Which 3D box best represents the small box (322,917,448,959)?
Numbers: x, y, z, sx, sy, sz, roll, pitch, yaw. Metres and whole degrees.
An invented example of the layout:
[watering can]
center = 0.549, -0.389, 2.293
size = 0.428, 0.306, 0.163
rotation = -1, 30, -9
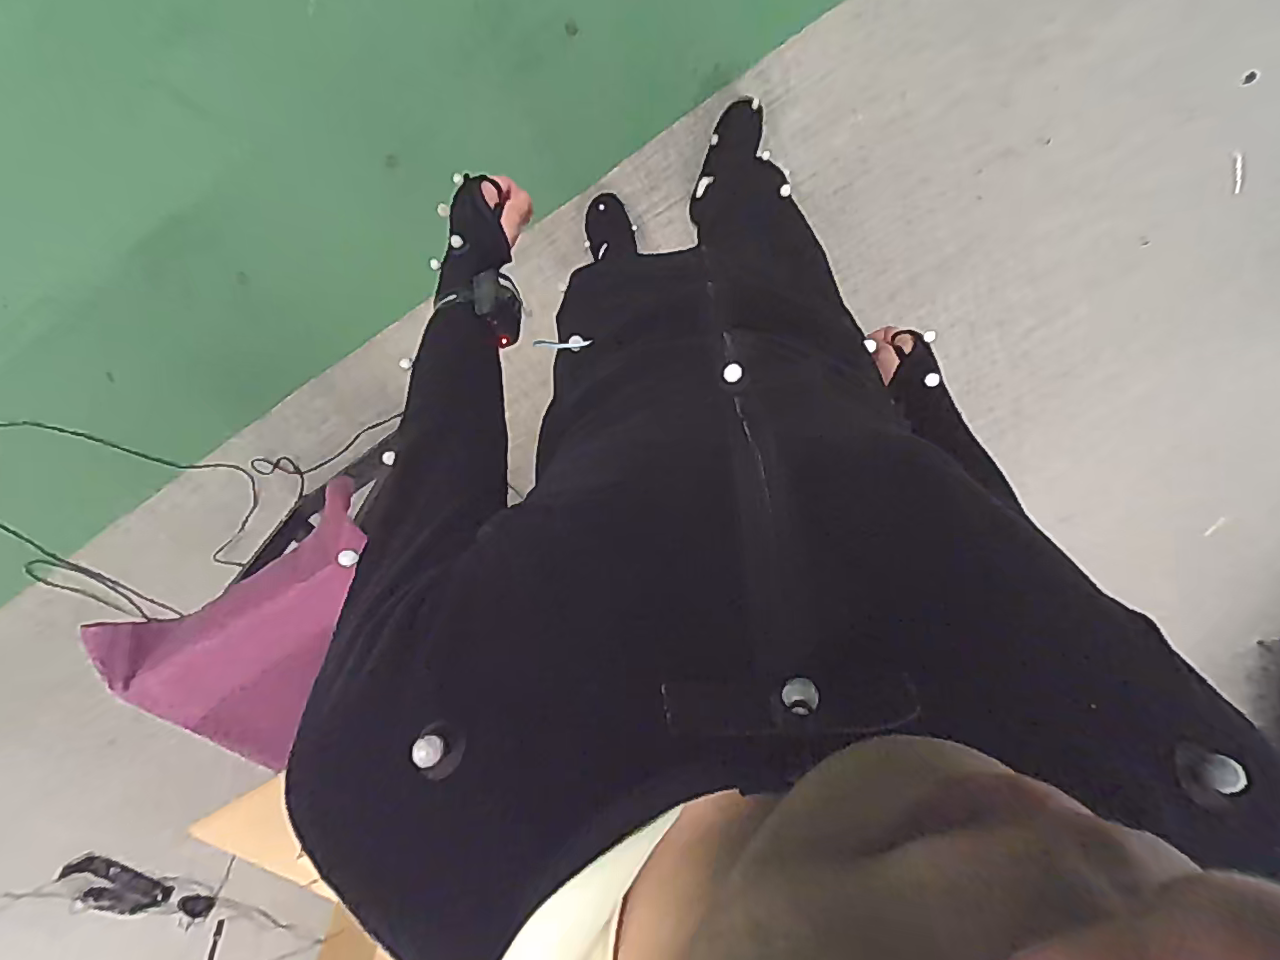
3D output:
[small box]
center = -0.465, 0.907, 0.939
size = 0.179, 0.176, 0.168
rotation = -33, 116, 13
